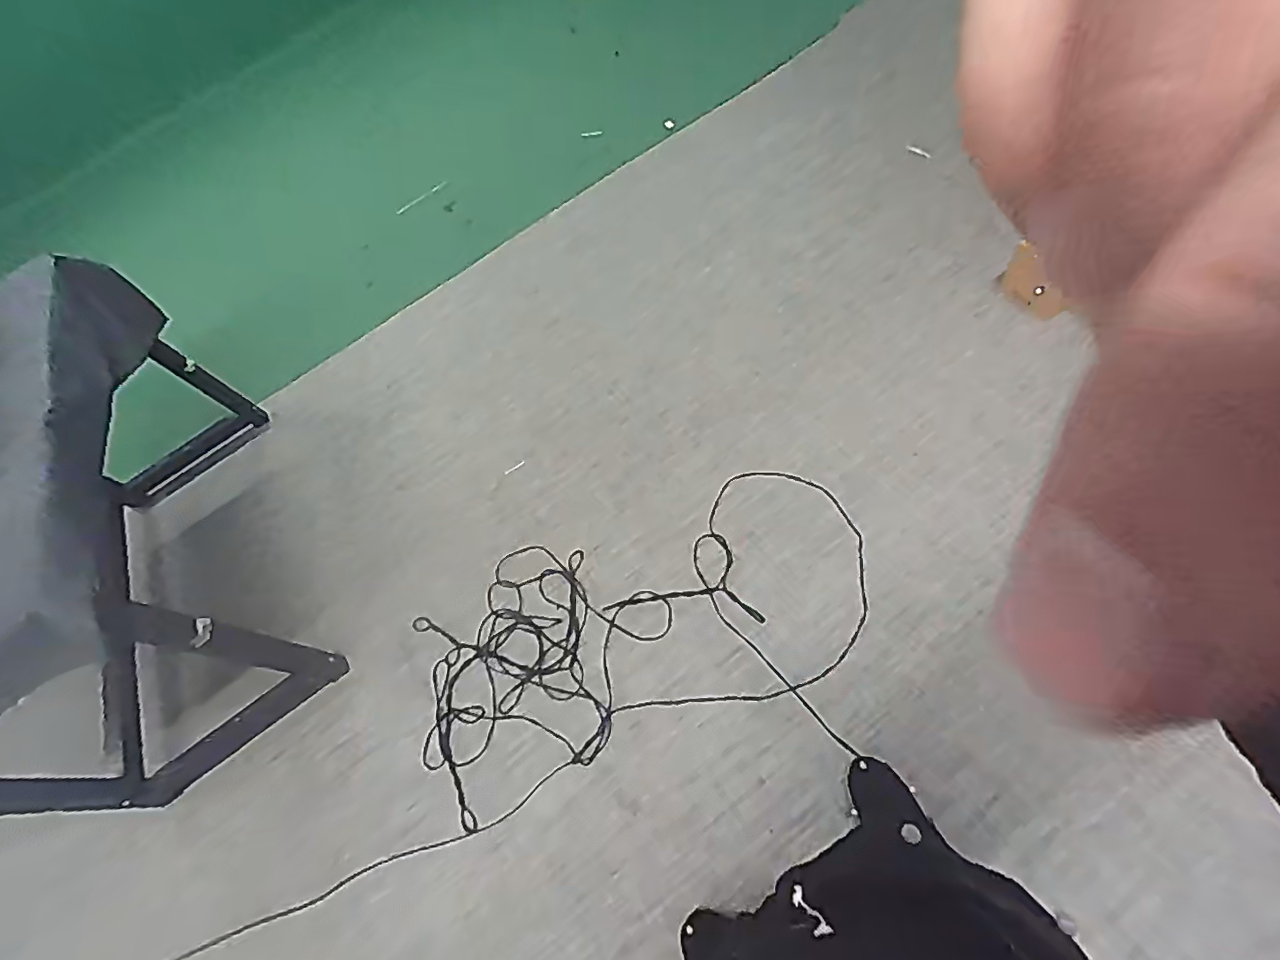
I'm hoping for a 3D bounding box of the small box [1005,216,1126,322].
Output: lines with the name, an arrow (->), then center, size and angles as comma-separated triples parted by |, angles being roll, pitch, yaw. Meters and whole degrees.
small box -> 1.124, -0.559, 1.453 | 0.179, 0.176, 0.168 | -27, 60, -1
